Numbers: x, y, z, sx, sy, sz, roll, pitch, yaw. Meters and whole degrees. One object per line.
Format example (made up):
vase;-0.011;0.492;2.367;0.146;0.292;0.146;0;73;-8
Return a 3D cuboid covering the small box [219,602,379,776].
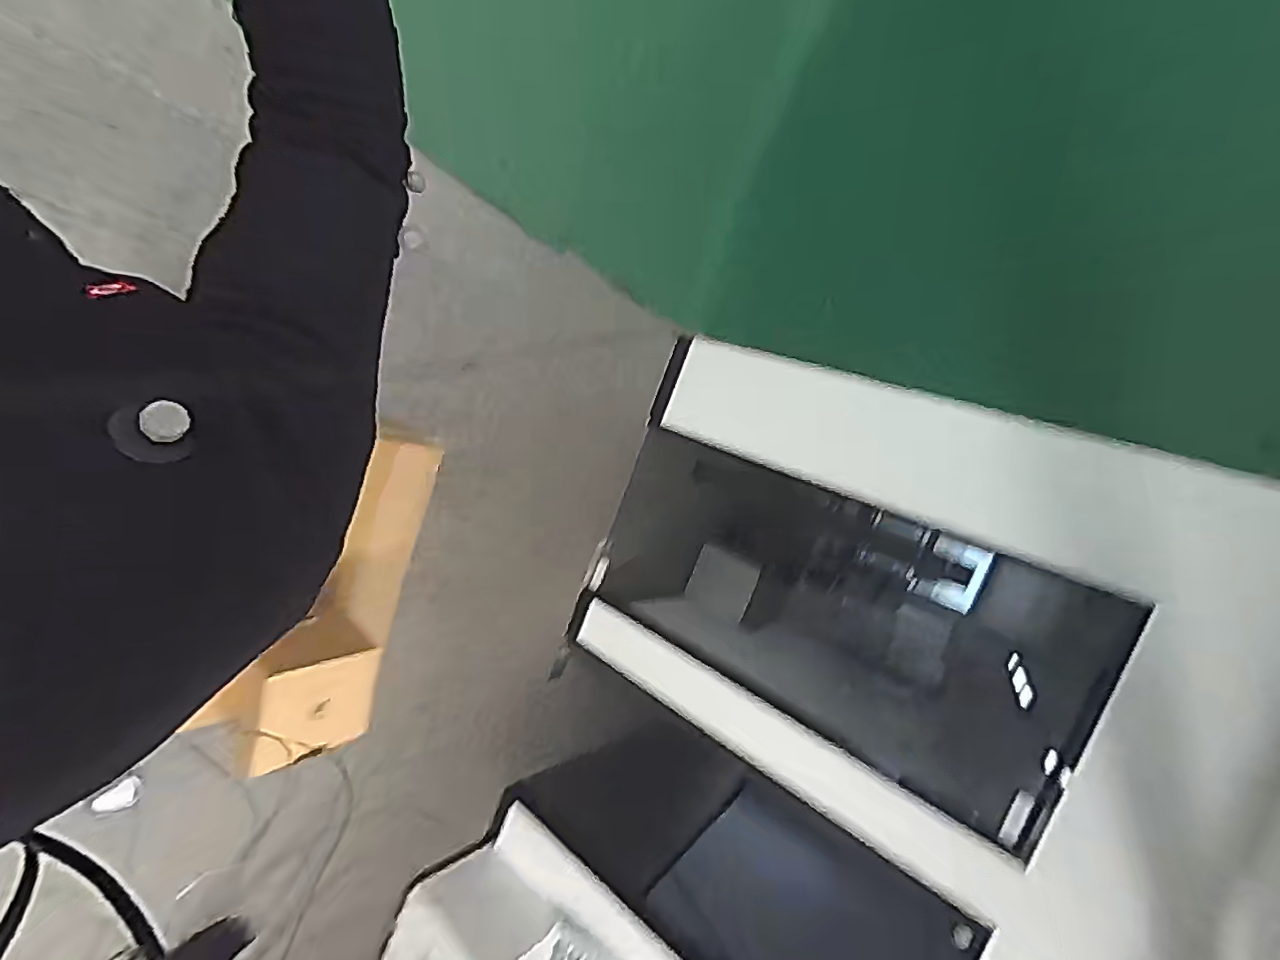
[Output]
small box;-0.555;0.324;0.876;0.168;0.176;0.179;-1;110;-53
